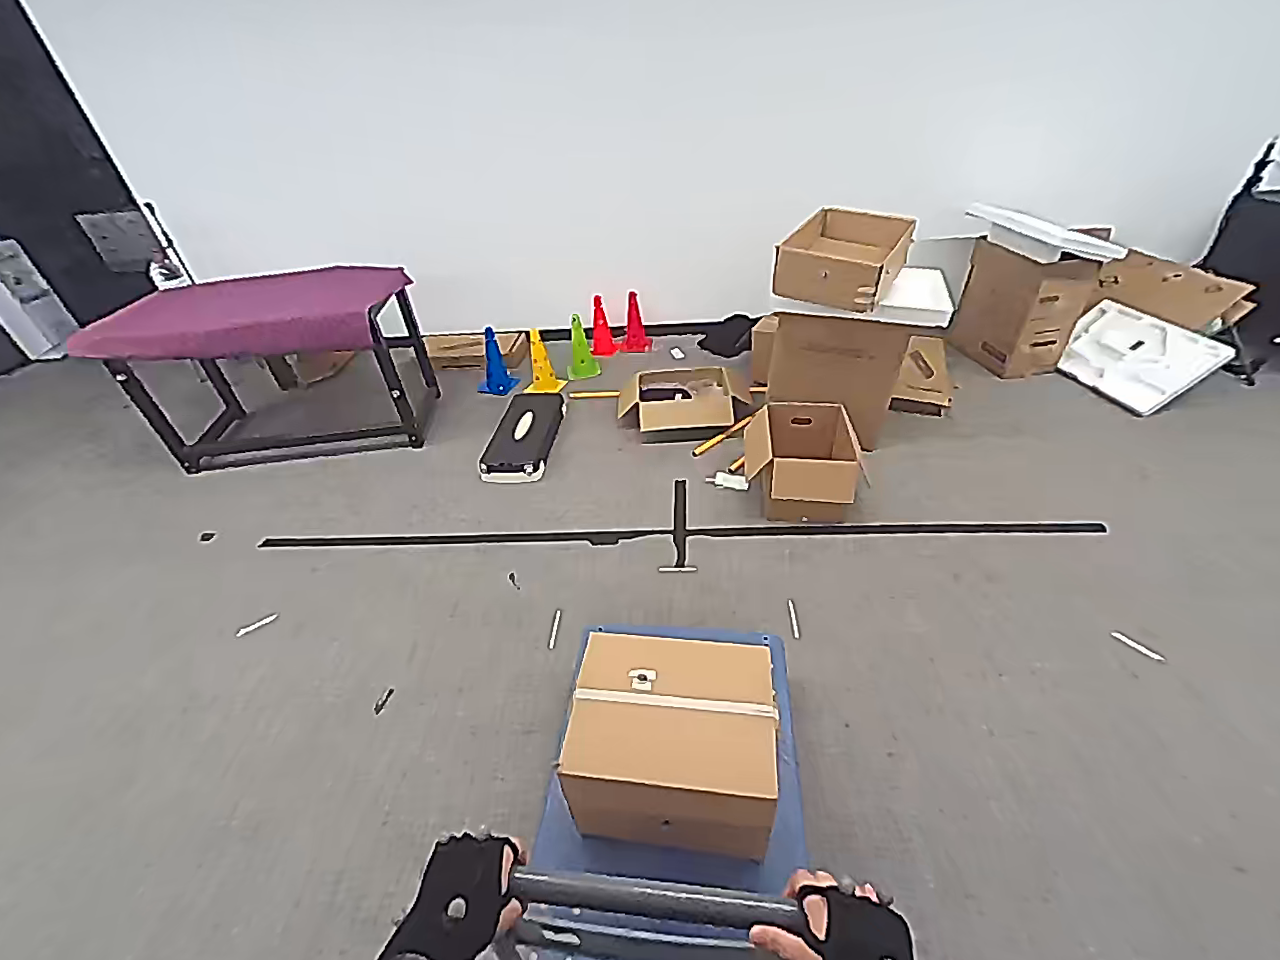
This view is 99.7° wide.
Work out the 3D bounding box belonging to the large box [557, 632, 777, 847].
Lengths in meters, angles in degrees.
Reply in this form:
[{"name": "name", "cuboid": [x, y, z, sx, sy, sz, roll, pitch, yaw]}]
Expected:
[{"name": "large box", "cuboid": [0.073, 0.556, 1.173, 0.408, 0.320, 0.320, 1, 38, 9]}]
